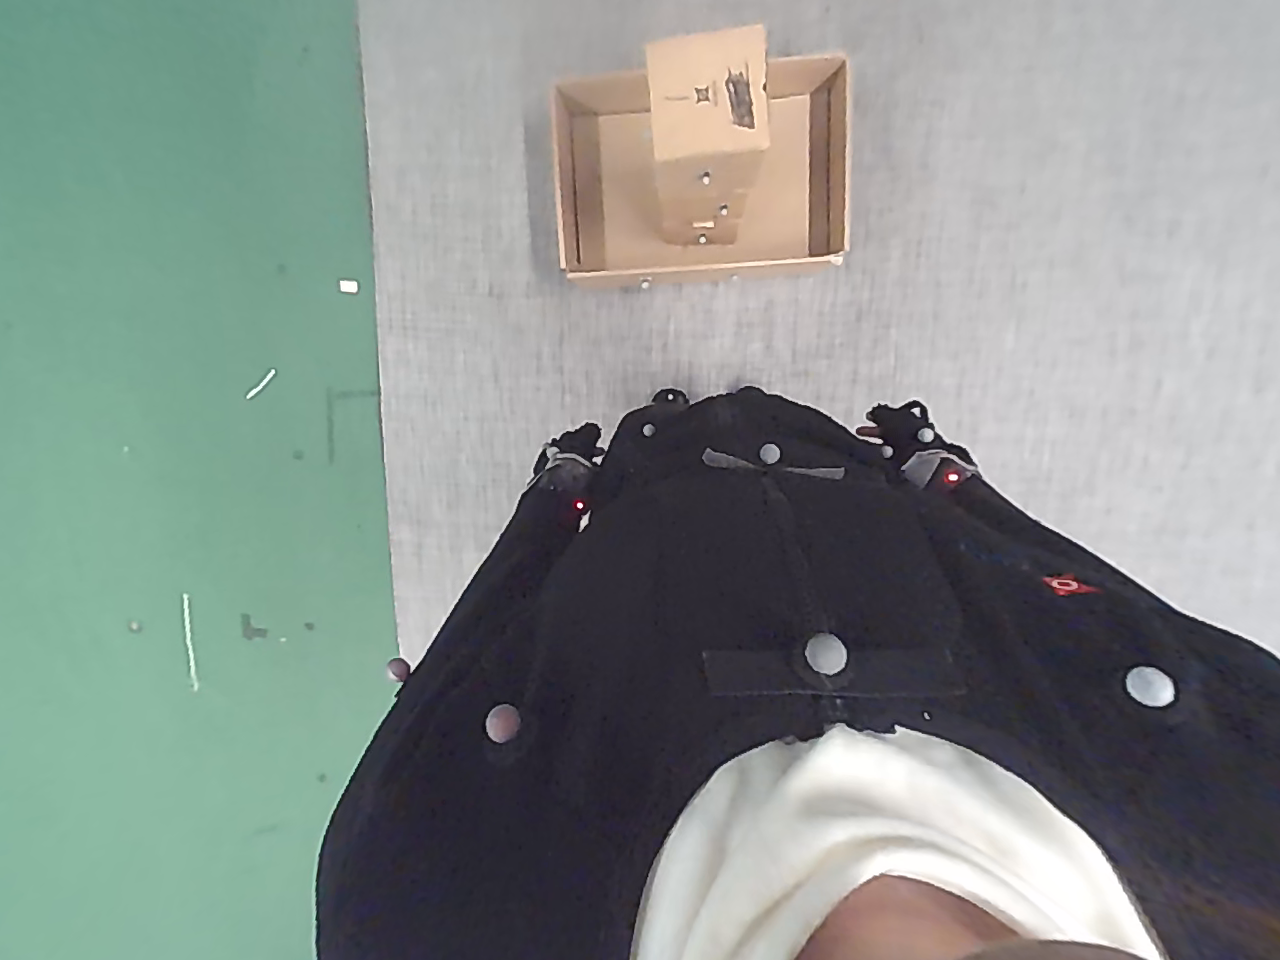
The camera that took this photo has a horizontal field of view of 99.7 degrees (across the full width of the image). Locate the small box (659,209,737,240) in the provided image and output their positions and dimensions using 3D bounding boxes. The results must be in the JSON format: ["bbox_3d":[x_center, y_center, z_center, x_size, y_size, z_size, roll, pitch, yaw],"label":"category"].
[{"bbox_3d":[0.133,-0.642,1.201,0.168,0.176,0.179,2,100,5],"label":"small box"}]

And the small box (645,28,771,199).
[{"bbox_3d":[0.105,-0.582,0.881,0.179,0.176,0.168,-7,99,5],"label":"small box"}]

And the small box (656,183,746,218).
[{"bbox_3d":[0.118,-0.617,1.041,0.168,0.176,0.179,0,98,5],"label":"small box"}]
